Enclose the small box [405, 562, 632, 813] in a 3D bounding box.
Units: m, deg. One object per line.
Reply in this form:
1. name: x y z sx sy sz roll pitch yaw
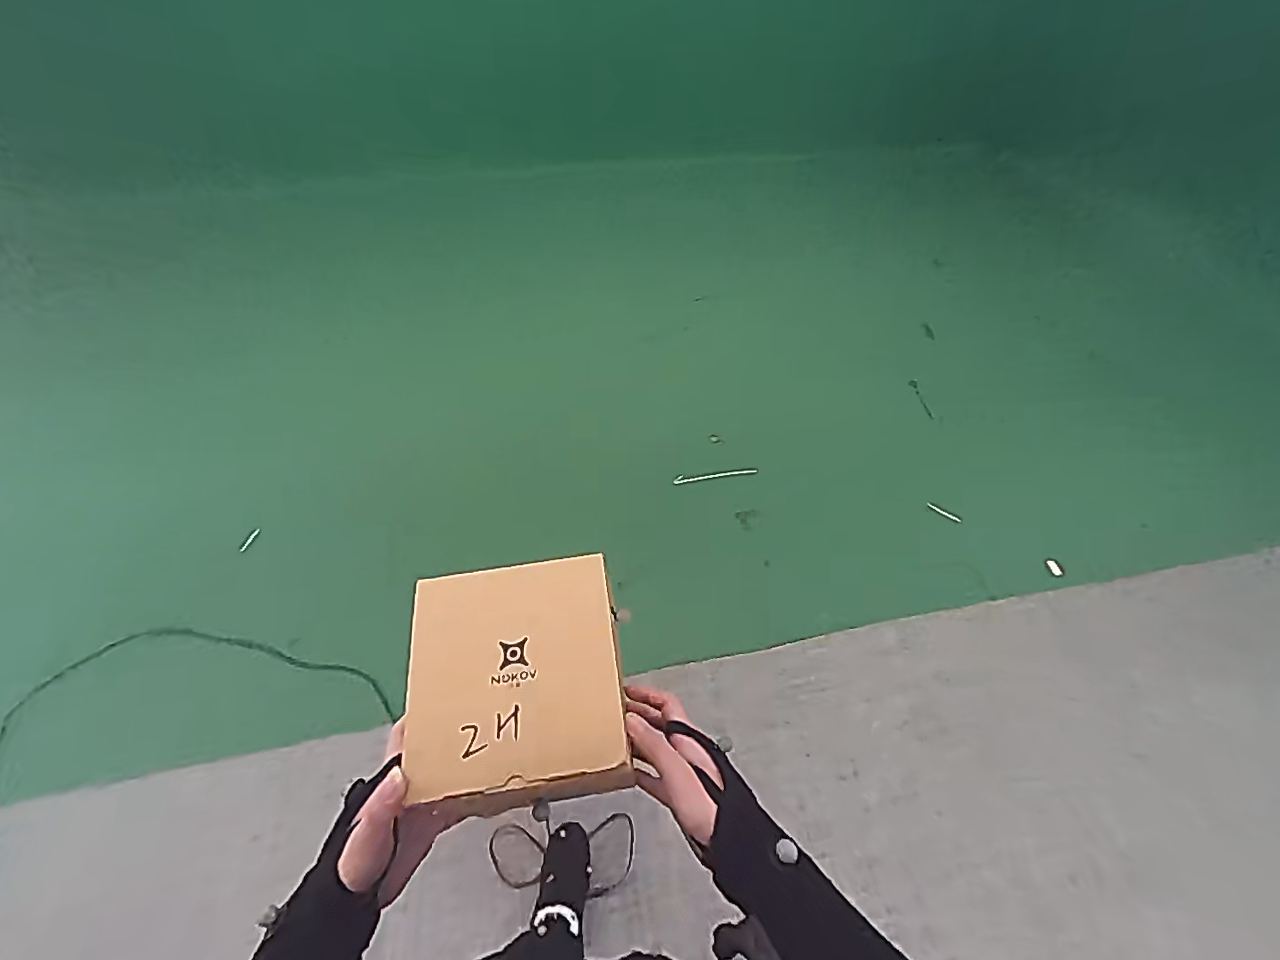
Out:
1. small box: -0.098 0.198 0.507 0.168 0.176 0.179 -7 57 -3
